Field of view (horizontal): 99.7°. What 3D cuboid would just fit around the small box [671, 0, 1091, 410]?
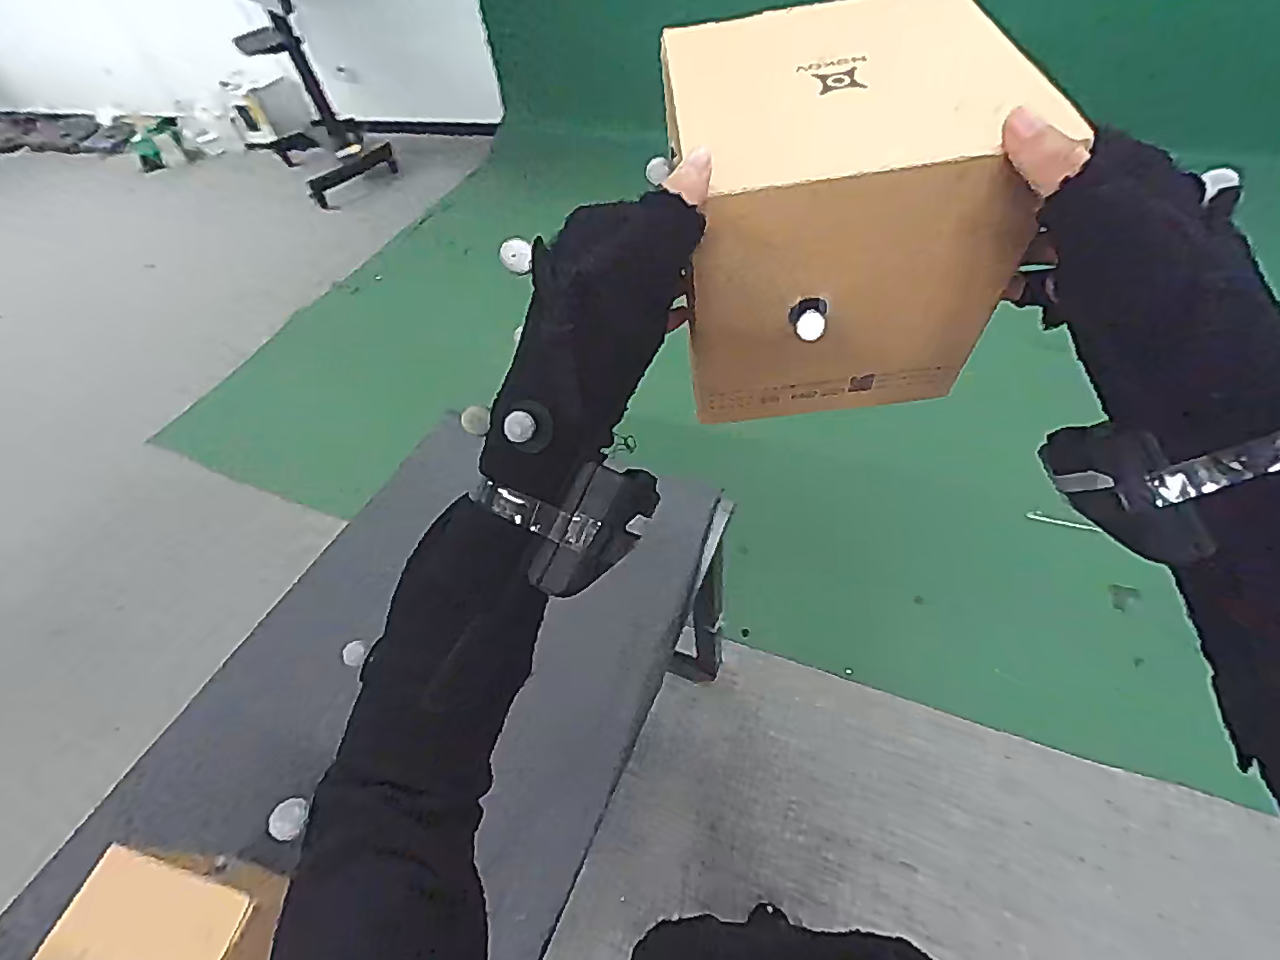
[{"bbox_3d":[0.113,-0.158,0.338,0.168,0.176,0.179,-6,57,5],"label":"small box"}]

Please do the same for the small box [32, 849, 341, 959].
[{"bbox_3d":[-0.431,0.472,0.509,0.179,0.176,0.168,7,52,14],"label":"small box"}]
